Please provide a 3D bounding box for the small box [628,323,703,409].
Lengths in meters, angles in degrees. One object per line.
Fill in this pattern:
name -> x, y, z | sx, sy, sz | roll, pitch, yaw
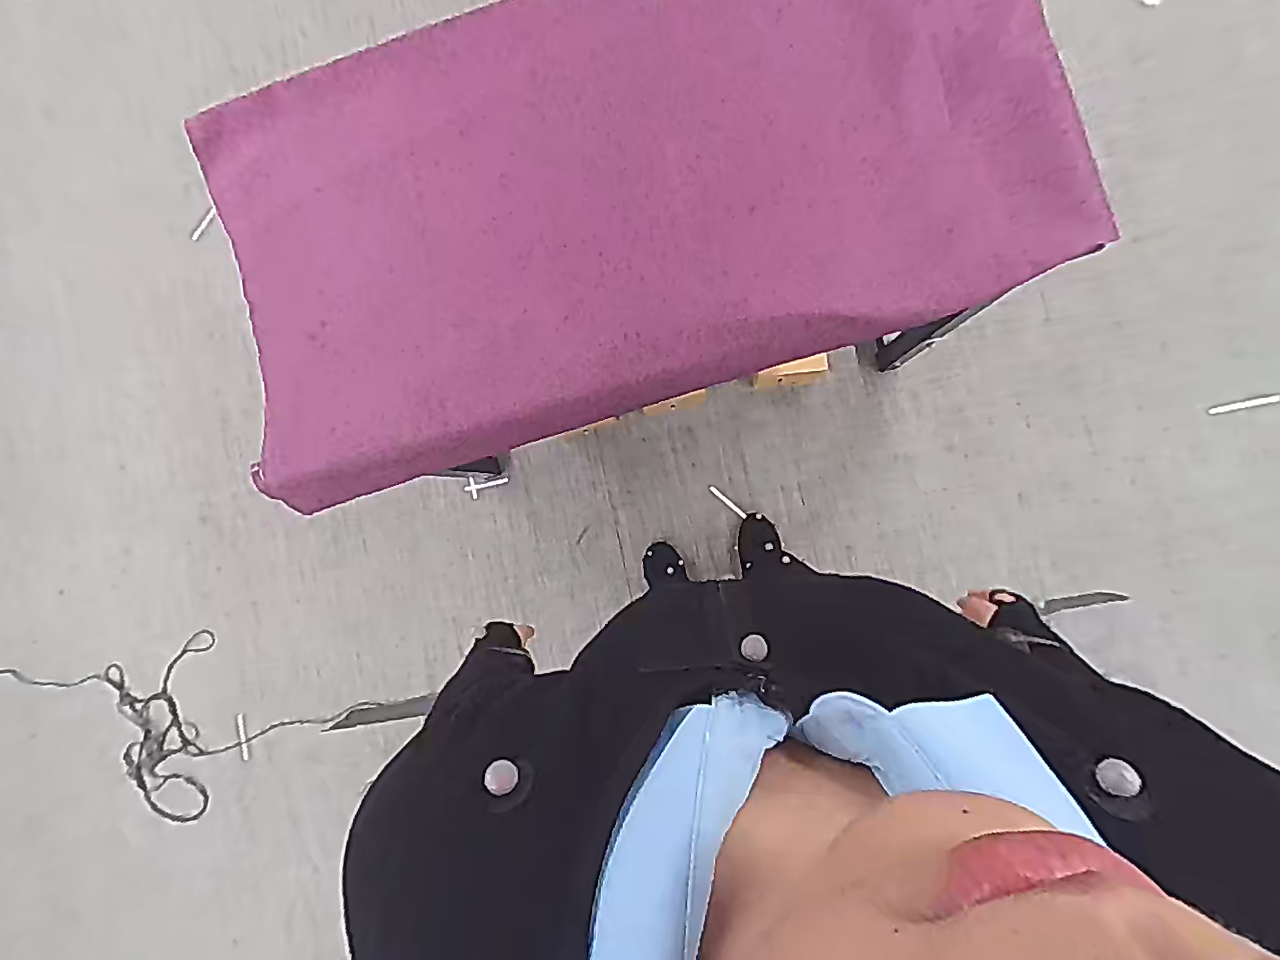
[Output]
small box -> 0.073, -0.292, 1.431 | 0.168, 0.176, 0.179 | -12, 87, 6

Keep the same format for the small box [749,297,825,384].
small box -> 0.374, -0.352, 1.397 | 0.168, 0.176, 0.179 | -5, 87, 8
